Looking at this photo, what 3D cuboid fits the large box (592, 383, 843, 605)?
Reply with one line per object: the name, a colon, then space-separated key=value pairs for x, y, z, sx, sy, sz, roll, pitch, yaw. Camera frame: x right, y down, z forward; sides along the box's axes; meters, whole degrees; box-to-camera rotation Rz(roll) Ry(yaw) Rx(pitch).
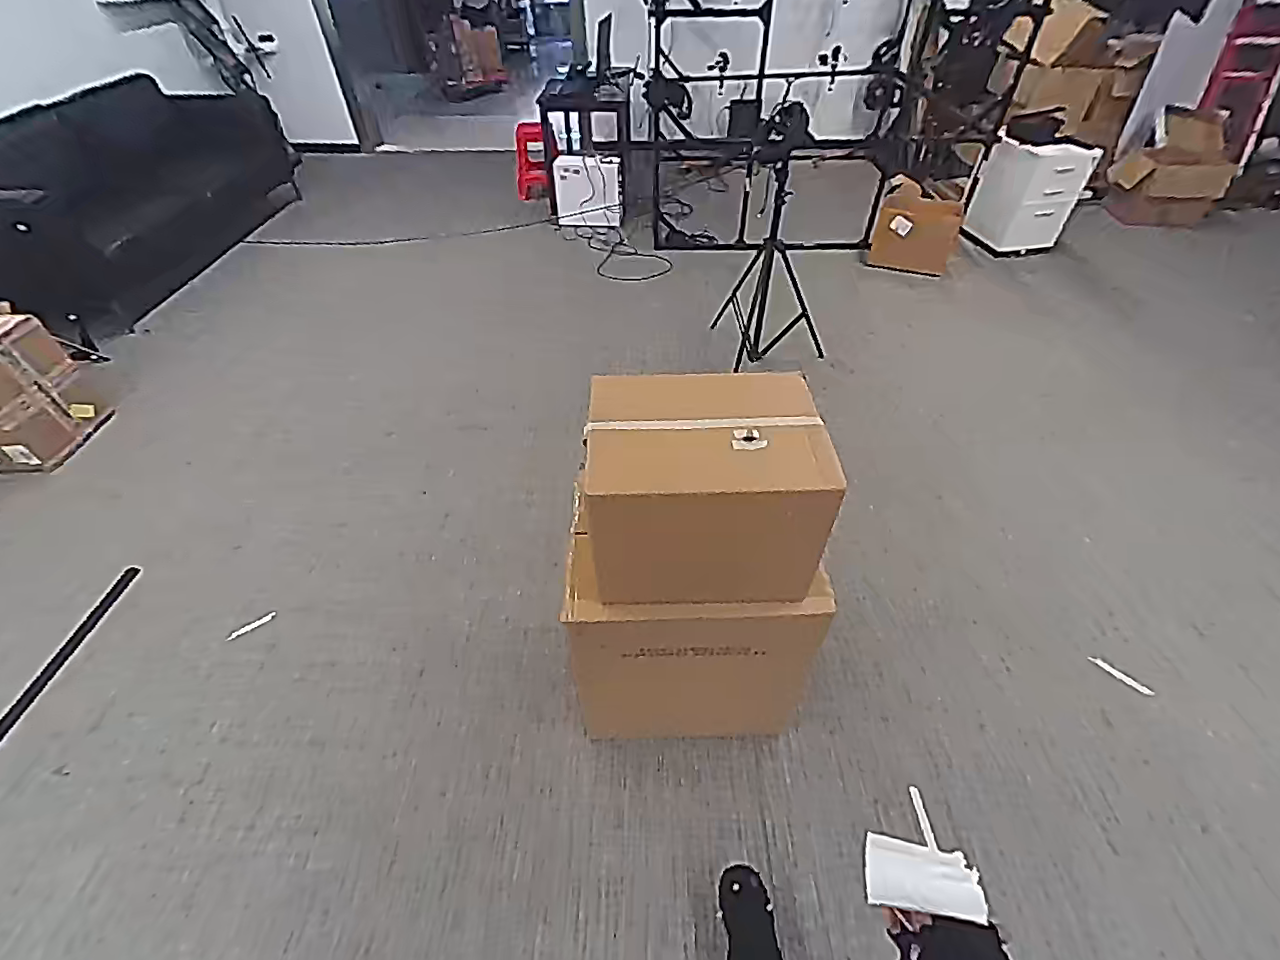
large box: x=0.116 y=0.026 z=1.051 sx=0.408 sy=0.320 sz=0.320 roll=-1 pitch=46 yaw=-1
